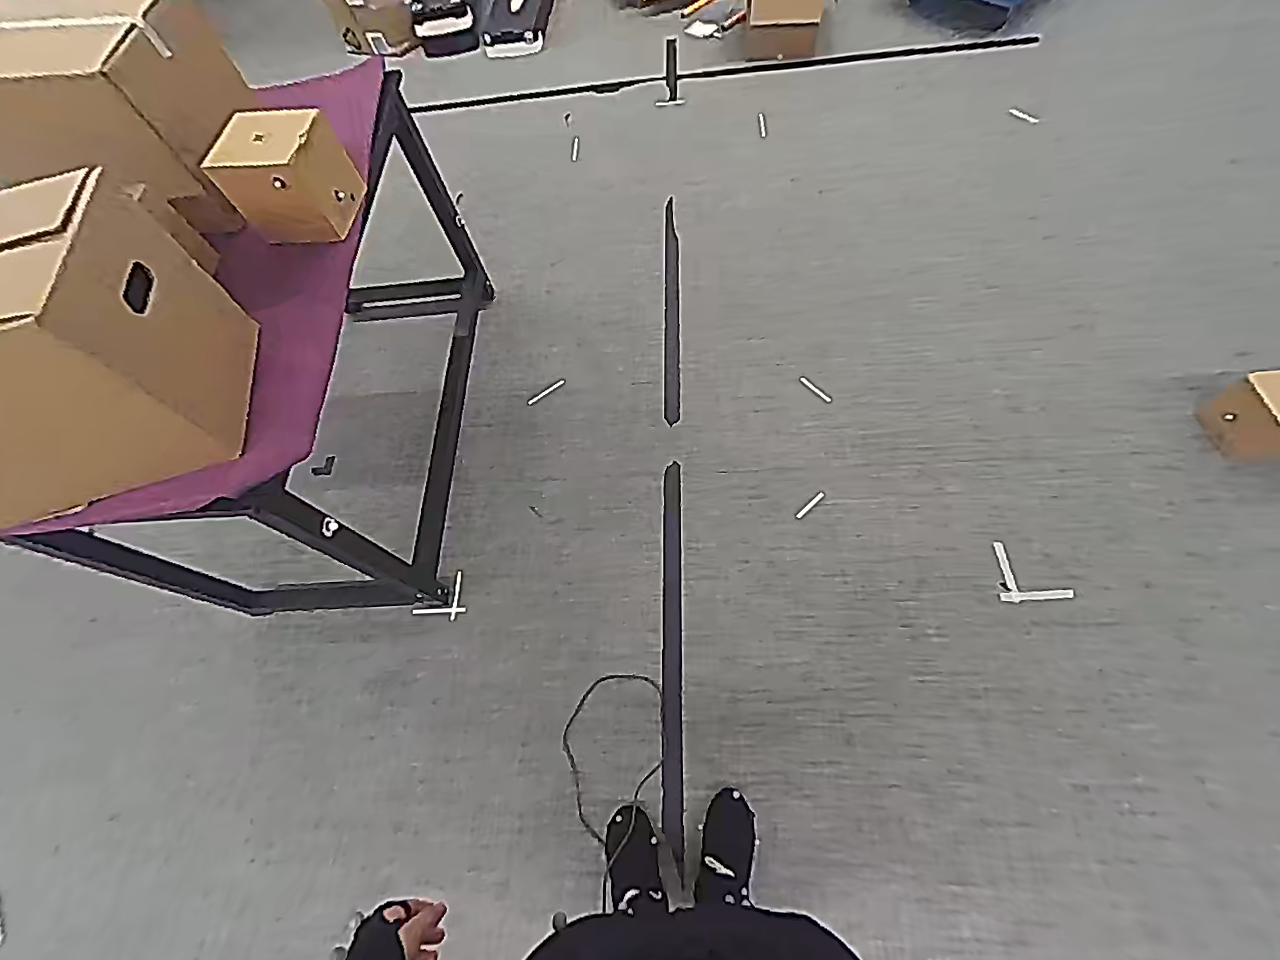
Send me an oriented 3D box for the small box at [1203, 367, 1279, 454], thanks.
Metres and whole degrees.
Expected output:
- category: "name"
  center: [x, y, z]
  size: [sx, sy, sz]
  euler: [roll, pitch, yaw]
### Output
- category: "small box"
  center: [1.644, -0.179, 1.408]
  size: [0.179, 0.176, 0.168]
  euler: [-6, 63, 3]
